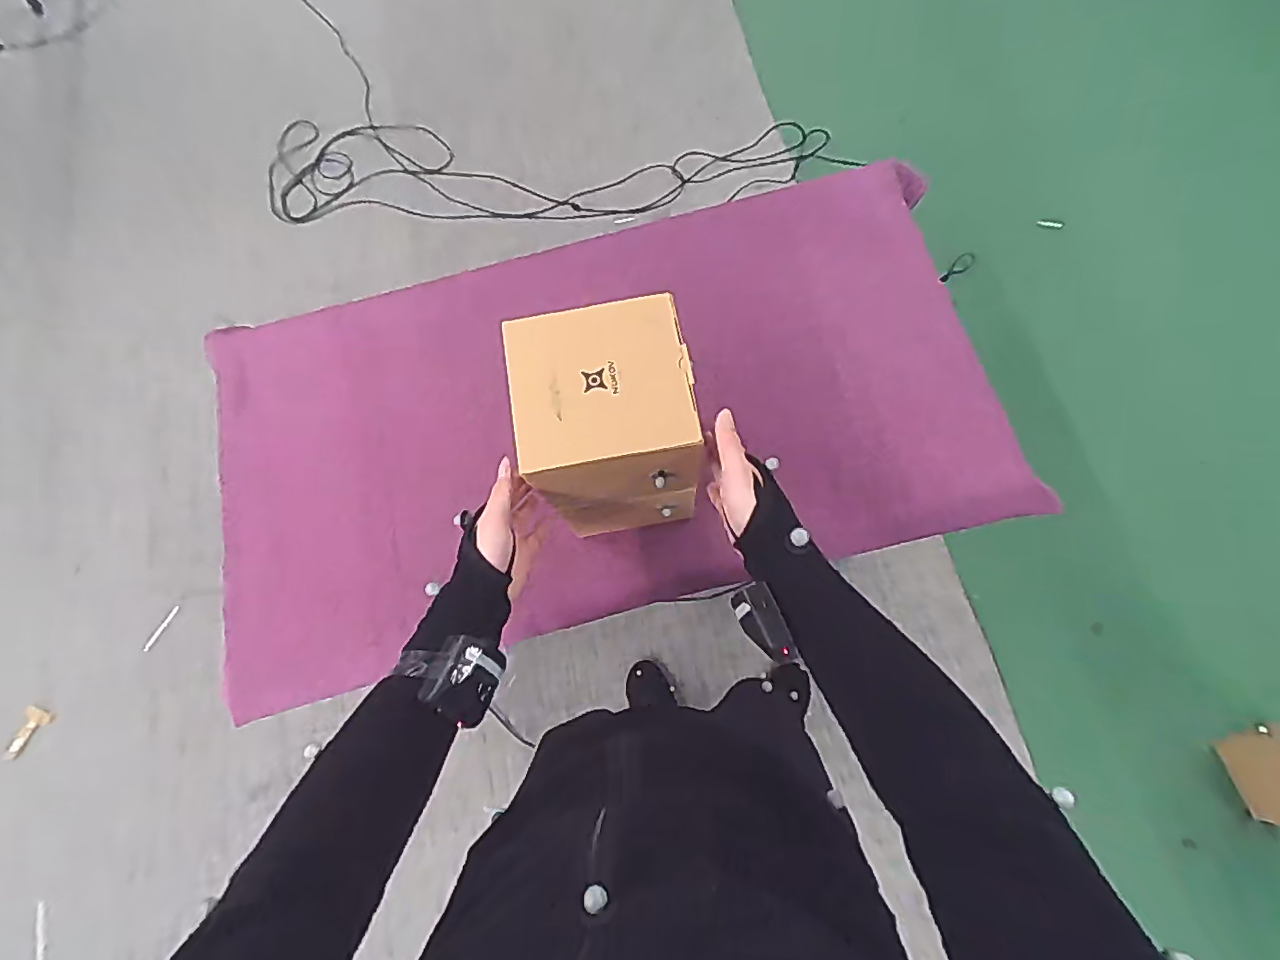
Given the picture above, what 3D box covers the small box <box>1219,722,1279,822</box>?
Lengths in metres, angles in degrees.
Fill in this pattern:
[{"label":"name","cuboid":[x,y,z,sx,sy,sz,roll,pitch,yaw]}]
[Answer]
[{"label":"small box","cuboid":[1.486,0.664,1.206,0.168,0.176,0.179,-17,74,-1]}]
